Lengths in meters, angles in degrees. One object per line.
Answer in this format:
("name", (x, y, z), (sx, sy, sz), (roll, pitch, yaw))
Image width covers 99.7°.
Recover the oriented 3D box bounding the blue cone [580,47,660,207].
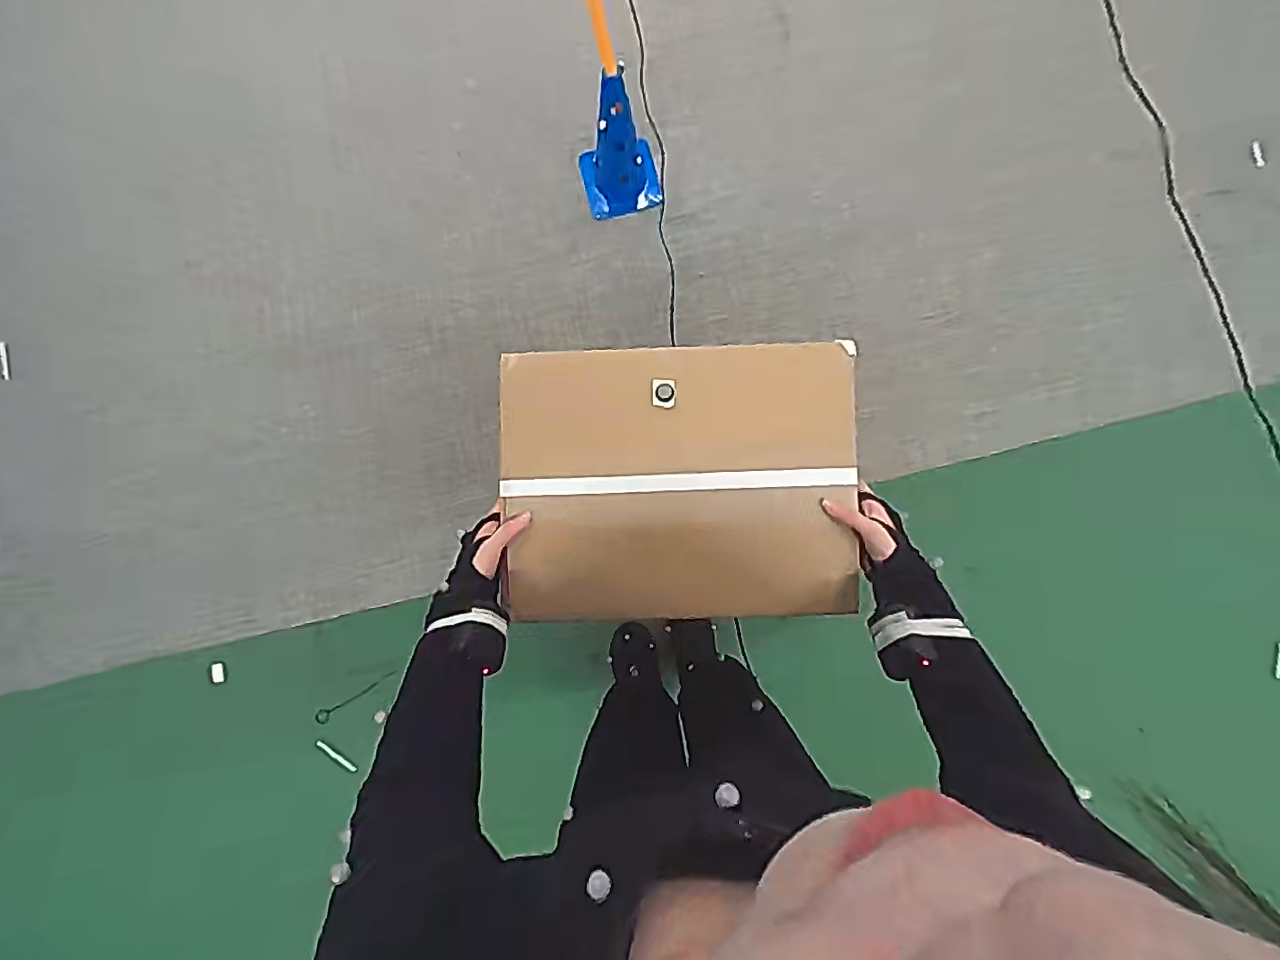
("blue cone", (-0.059, -0.850, 1.293), (0.193, 0.380, 0.192), (-17, 85, 1))
